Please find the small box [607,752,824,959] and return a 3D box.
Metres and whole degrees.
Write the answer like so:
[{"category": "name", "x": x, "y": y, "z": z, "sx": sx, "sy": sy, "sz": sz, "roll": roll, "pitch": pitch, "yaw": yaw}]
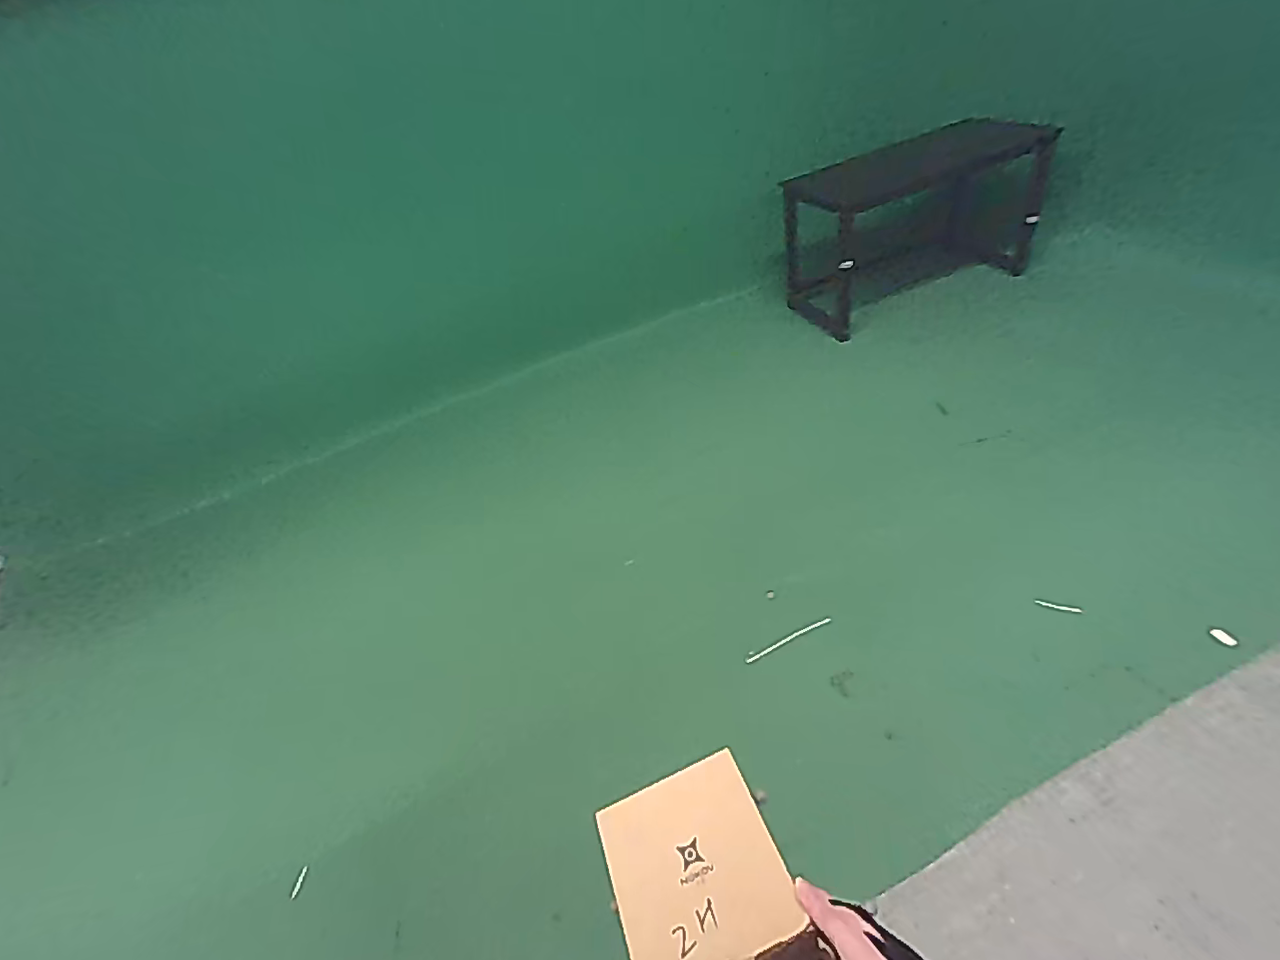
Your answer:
[{"category": "small box", "x": 0.080, "y": 0.442, "z": 0.587, "sx": 0.168, "sy": 0.176, "sz": 0.179, "roll": -23, "pitch": 40, "yaw": -5}]
